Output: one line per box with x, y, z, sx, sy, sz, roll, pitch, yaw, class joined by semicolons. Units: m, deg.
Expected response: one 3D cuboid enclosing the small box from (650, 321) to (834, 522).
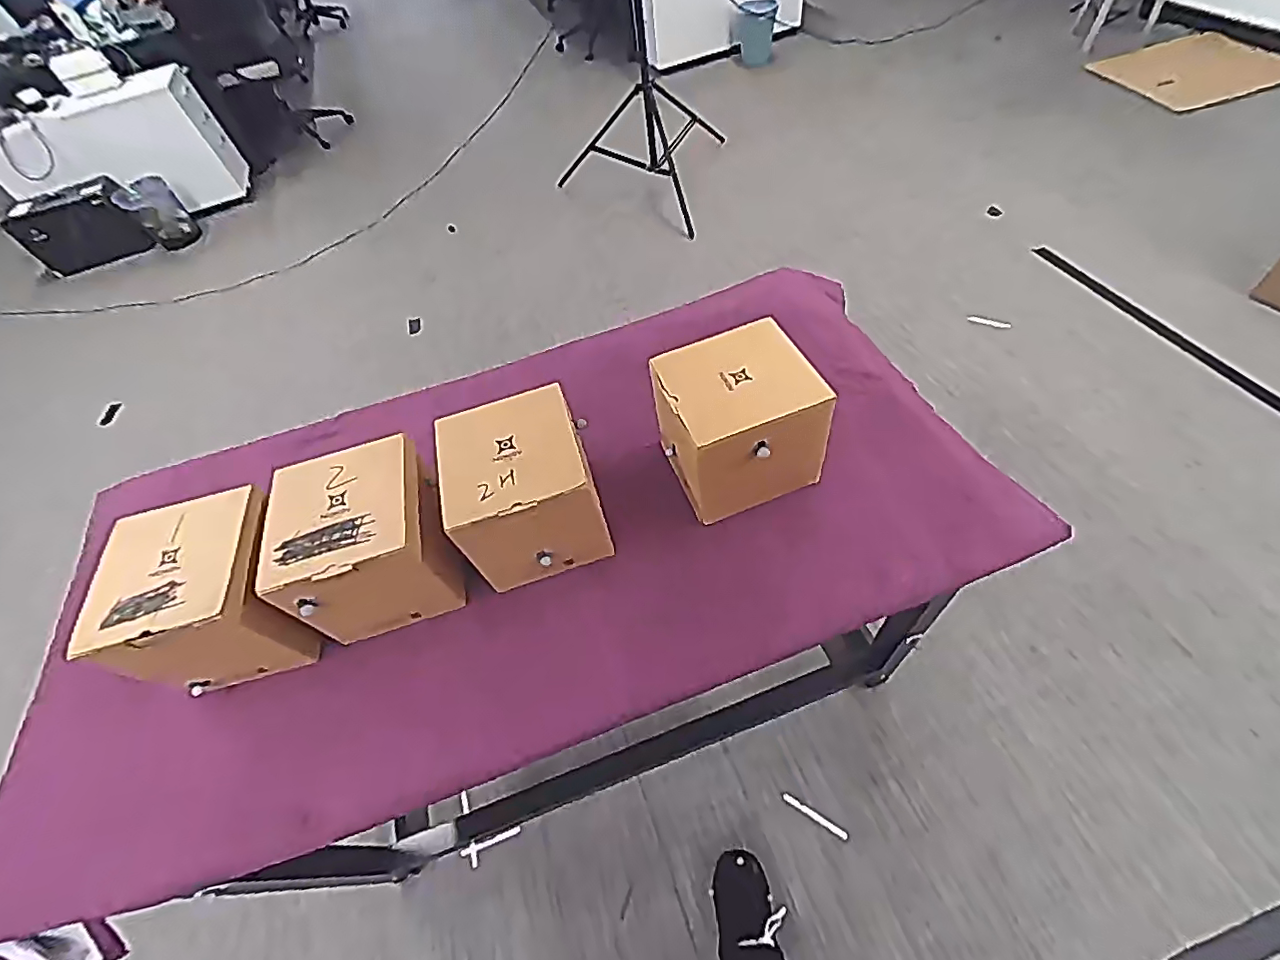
0.128;-0.073;0.720;0.179;0.176;0.168;-21;53;-4;small box
